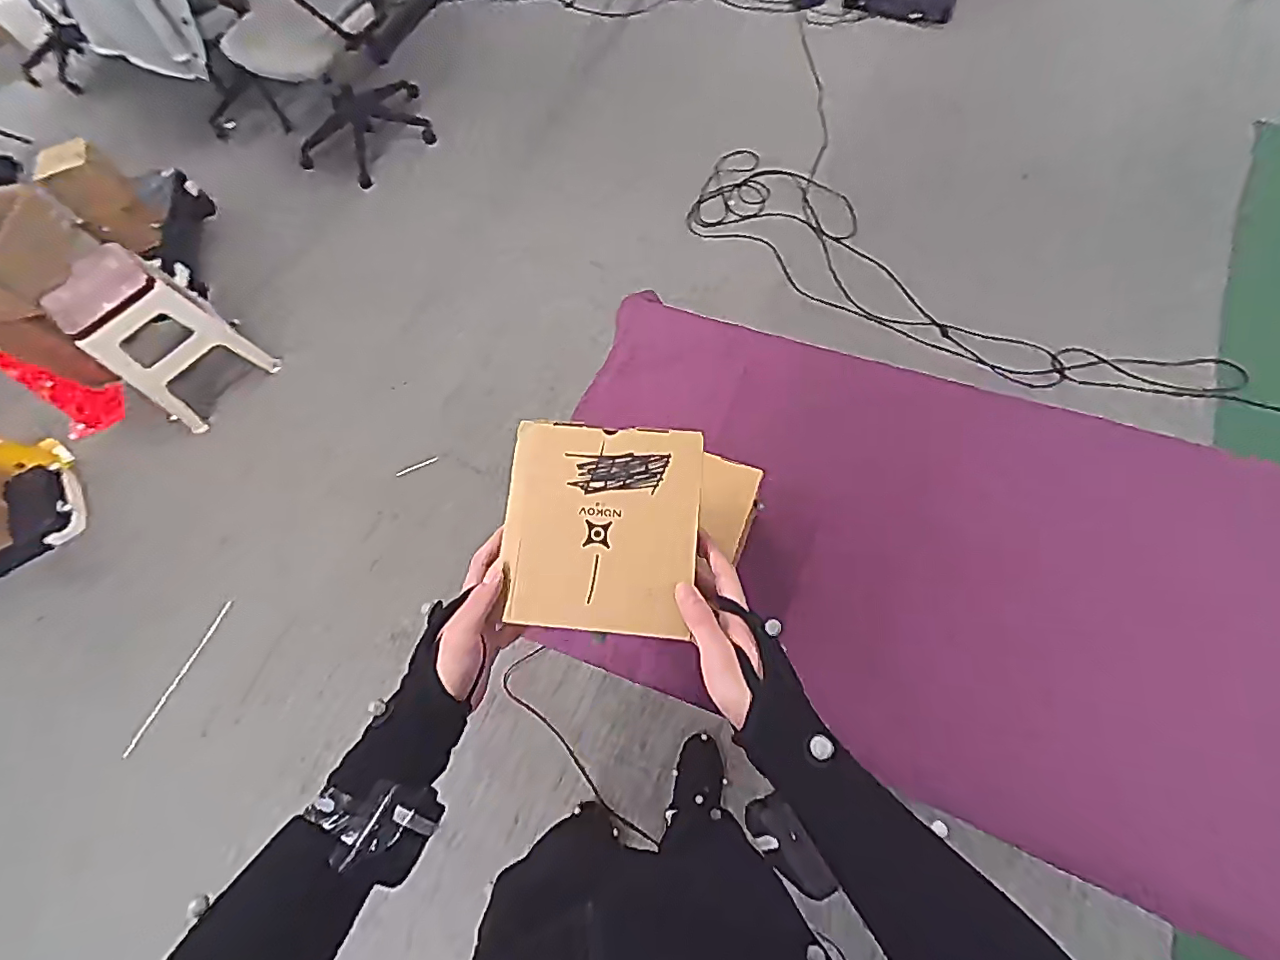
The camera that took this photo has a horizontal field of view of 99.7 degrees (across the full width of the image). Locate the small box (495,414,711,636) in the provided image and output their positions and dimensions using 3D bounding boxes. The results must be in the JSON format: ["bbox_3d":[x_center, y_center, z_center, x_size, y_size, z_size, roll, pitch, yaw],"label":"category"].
[{"bbox_3d":[-0.024,0.051,0.530,0.168,0.176,0.179,5,77,6],"label":"small box"}]

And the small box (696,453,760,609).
[{"bbox_3d":[0.064,0.068,0.774,0.168,0.176,0.179,18,69,15],"label":"small box"}]
